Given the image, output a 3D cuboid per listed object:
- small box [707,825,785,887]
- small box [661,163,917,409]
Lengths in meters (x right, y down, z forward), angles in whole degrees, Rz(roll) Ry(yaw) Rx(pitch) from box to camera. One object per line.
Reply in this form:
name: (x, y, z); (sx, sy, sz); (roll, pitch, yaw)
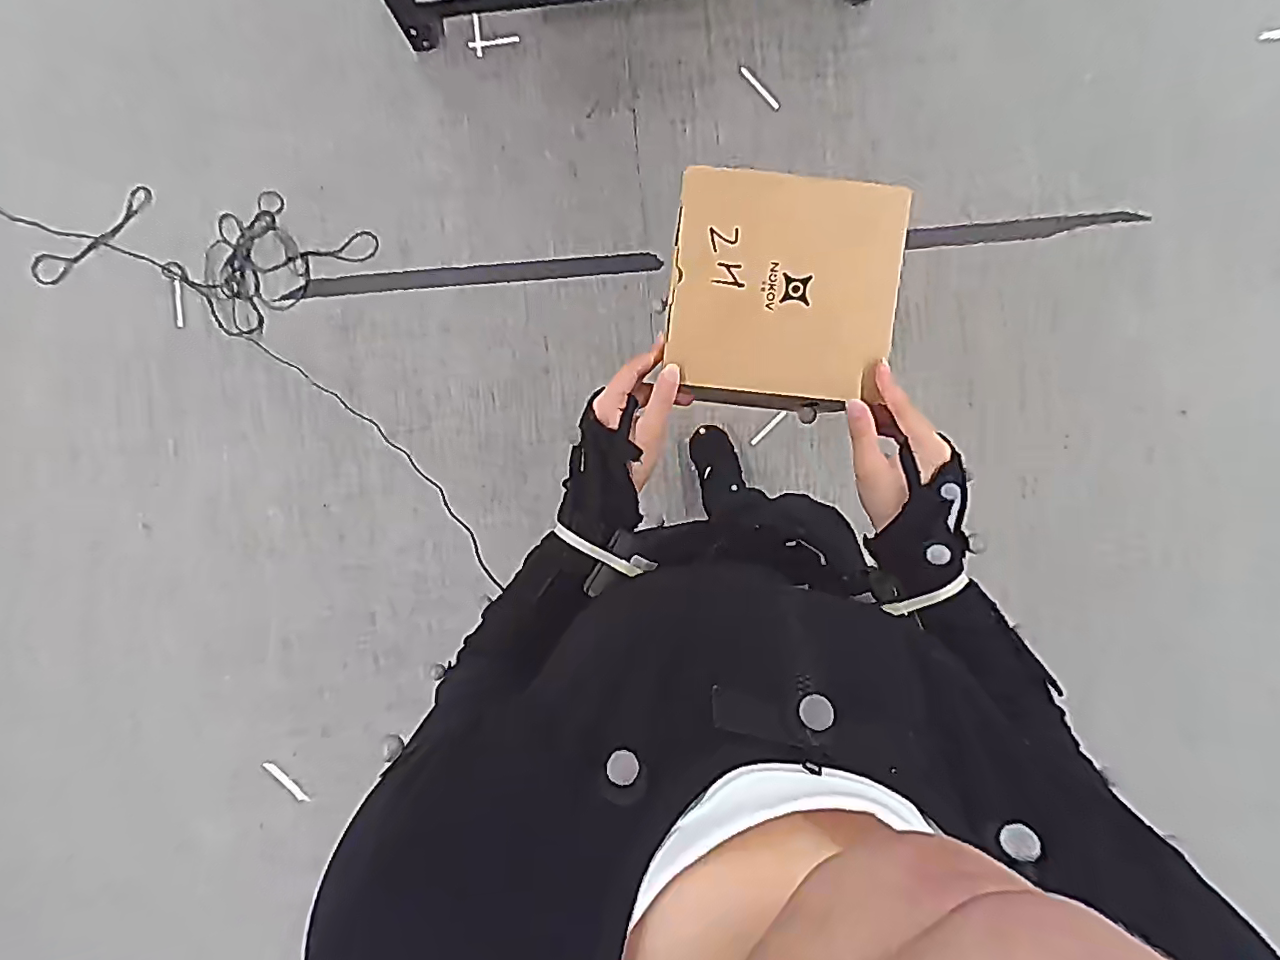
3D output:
small box: (0.251, 0.966, 1.304); (0.168, 0.176, 0.179); (-2, 91, 3)
small box: (0.116, -0.156, 0.493); (0.179, 0.176, 0.168); (6, 94, 0)
